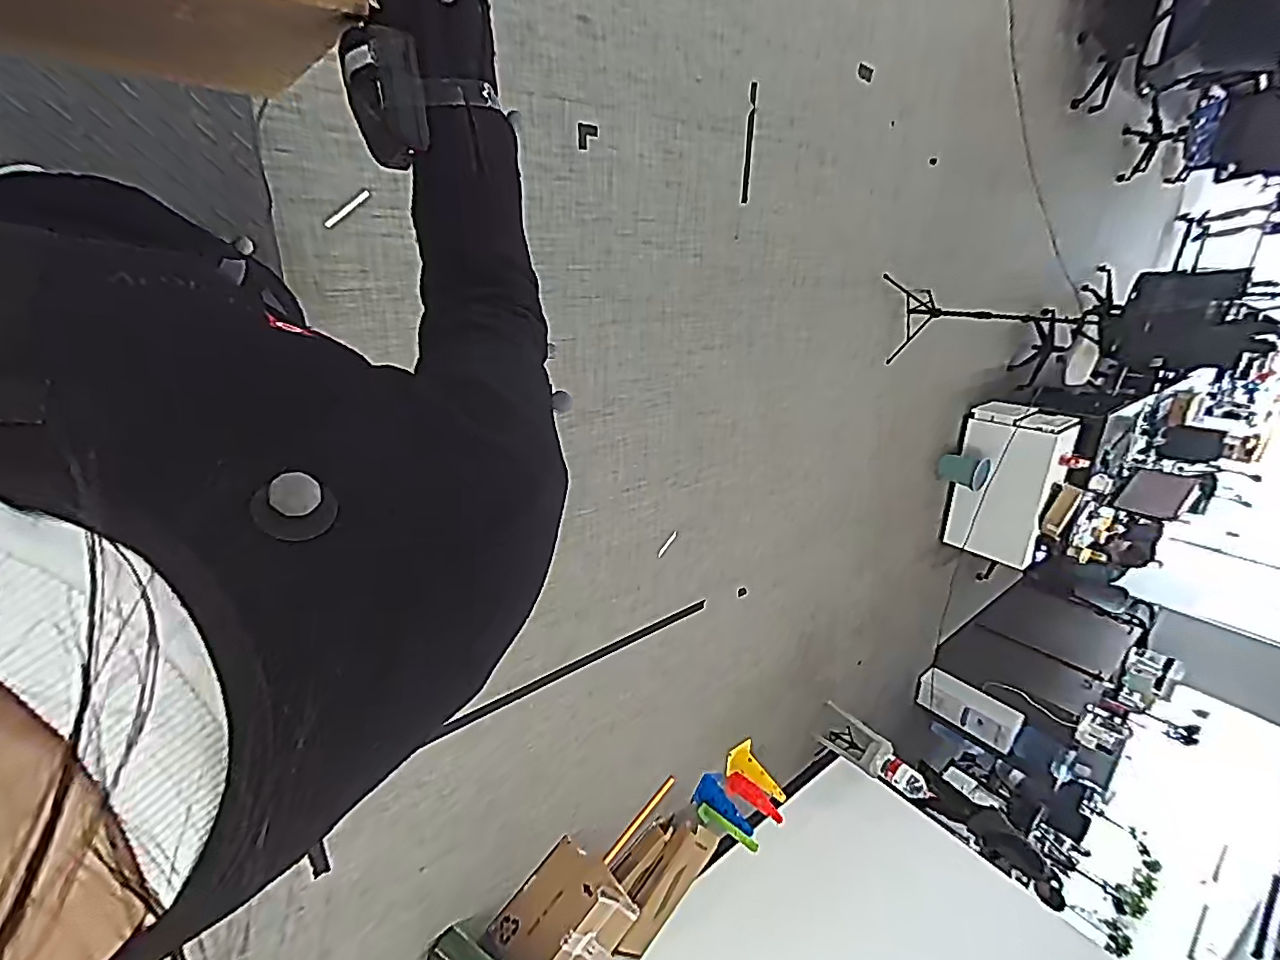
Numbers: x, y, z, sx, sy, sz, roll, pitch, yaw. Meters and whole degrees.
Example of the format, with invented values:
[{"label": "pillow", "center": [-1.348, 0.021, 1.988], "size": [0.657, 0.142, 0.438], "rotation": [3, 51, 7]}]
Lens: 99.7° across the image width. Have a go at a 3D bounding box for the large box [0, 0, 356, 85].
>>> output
[{"label": "large box", "center": [-0.402, -0.413, 0.233], "size": [0.408, 0.320, 0.320], "rotation": [-17, 122, -37]}]
